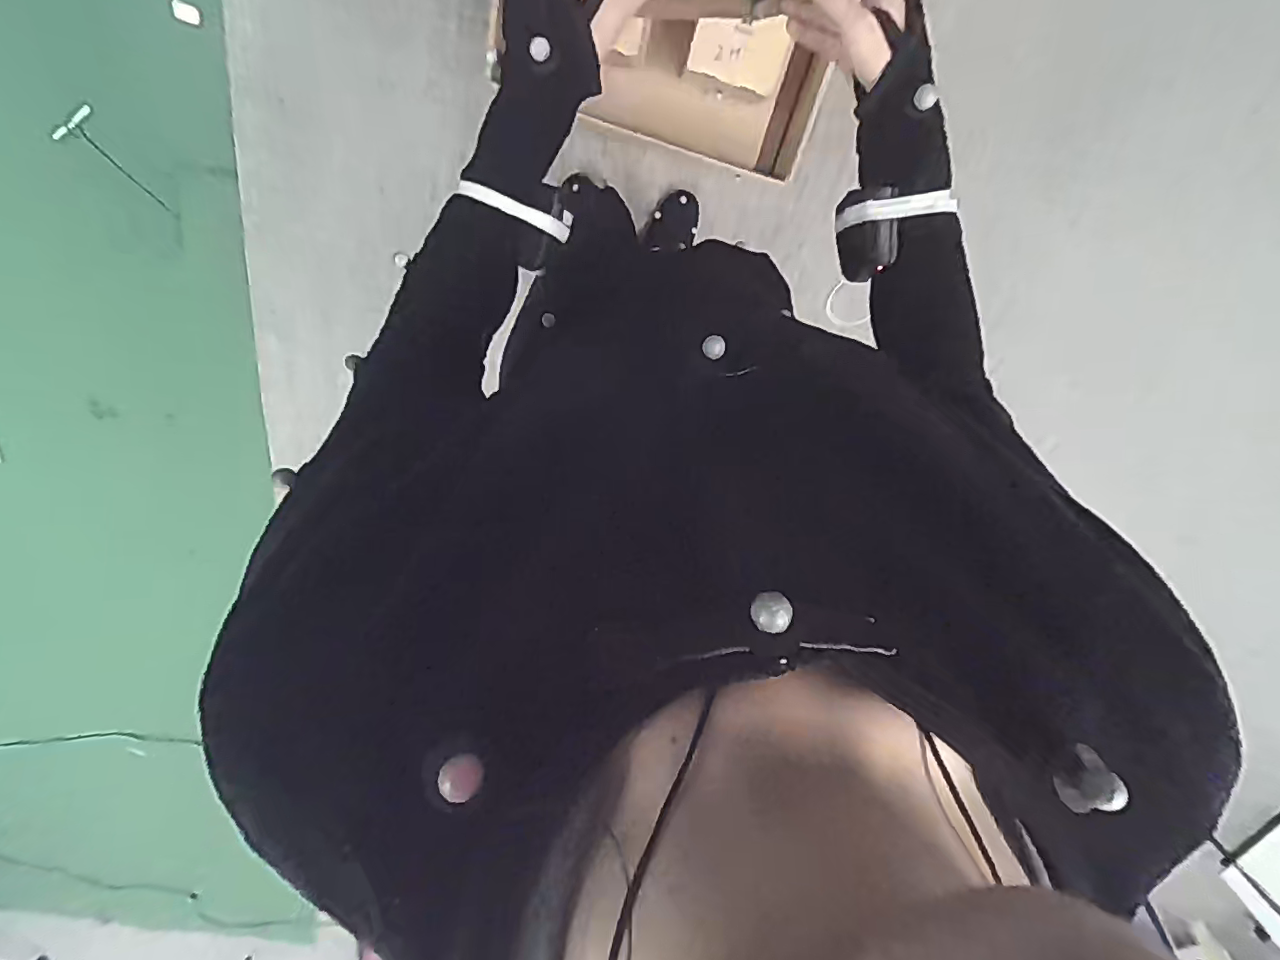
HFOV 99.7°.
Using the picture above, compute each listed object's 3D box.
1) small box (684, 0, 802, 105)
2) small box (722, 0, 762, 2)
[{"bbox_3d":[0.184,-0.832,1.007,0.168,0.176,0.179,15,119,-6],"label":"small box"},{"bbox_3d":[0.054,-0.477,0.393,0.168,0.176,0.179,-5,121,-6],"label":"small box"}]
